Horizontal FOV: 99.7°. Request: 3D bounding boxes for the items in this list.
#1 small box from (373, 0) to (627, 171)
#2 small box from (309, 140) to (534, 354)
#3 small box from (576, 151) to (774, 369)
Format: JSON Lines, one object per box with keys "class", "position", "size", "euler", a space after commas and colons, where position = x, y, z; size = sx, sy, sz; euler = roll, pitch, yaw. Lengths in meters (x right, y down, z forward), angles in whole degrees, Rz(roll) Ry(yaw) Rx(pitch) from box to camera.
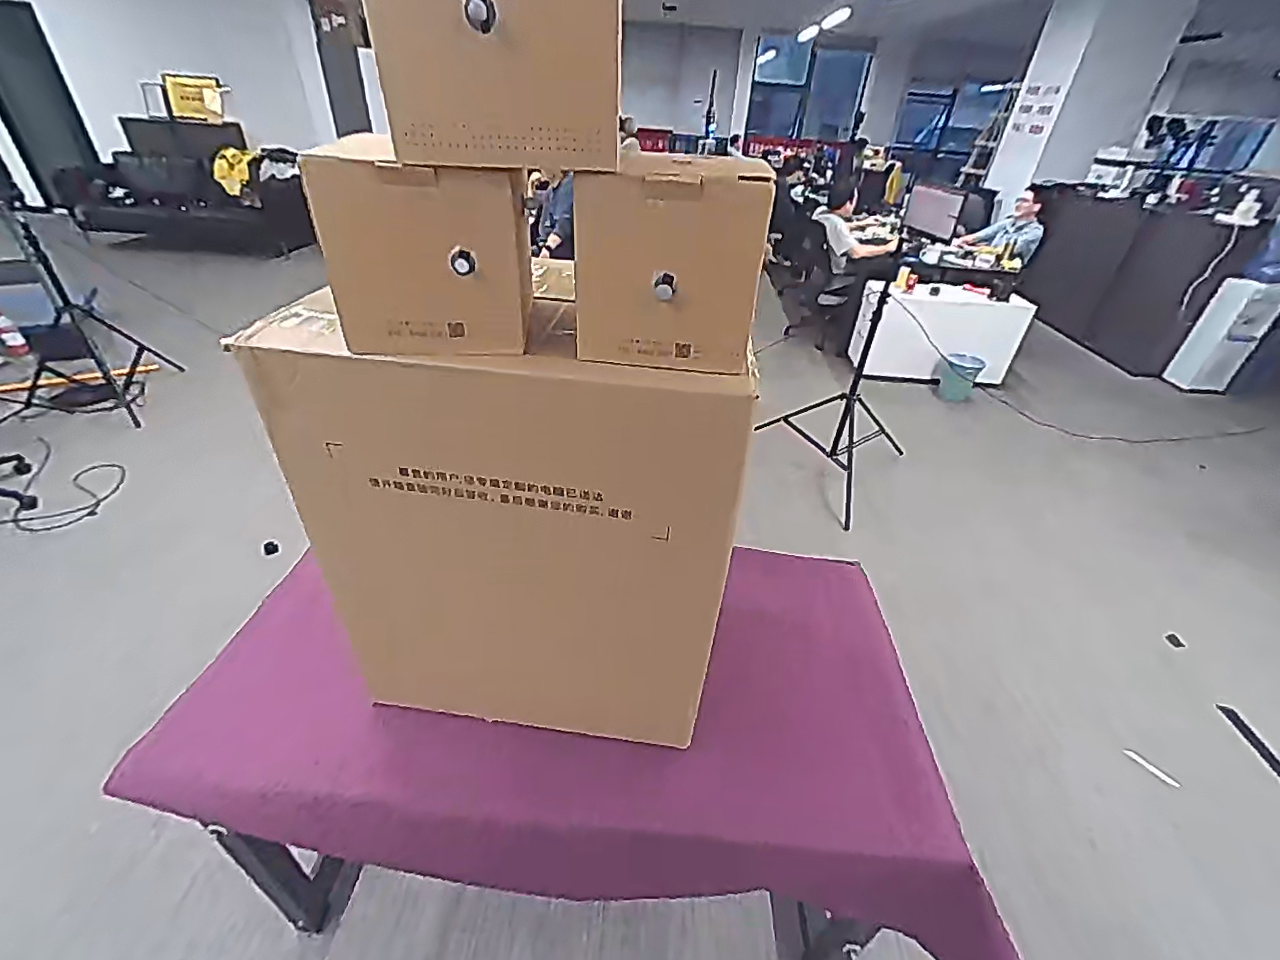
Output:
{"class": "small box", "position": [-0.099, -0.359, 0.445], "size": [0.179, 0.176, 0.168], "euler": [0, 36, -2]}
{"class": "small box", "position": [-0.197, -0.237, 0.550], "size": [0.168, 0.176, 0.179], "euler": [0, 35, -8]}
{"class": "small box", "position": [0.036, -0.226, 0.551], "size": [0.168, 0.176, 0.179], "euler": [7, 36, 4]}
